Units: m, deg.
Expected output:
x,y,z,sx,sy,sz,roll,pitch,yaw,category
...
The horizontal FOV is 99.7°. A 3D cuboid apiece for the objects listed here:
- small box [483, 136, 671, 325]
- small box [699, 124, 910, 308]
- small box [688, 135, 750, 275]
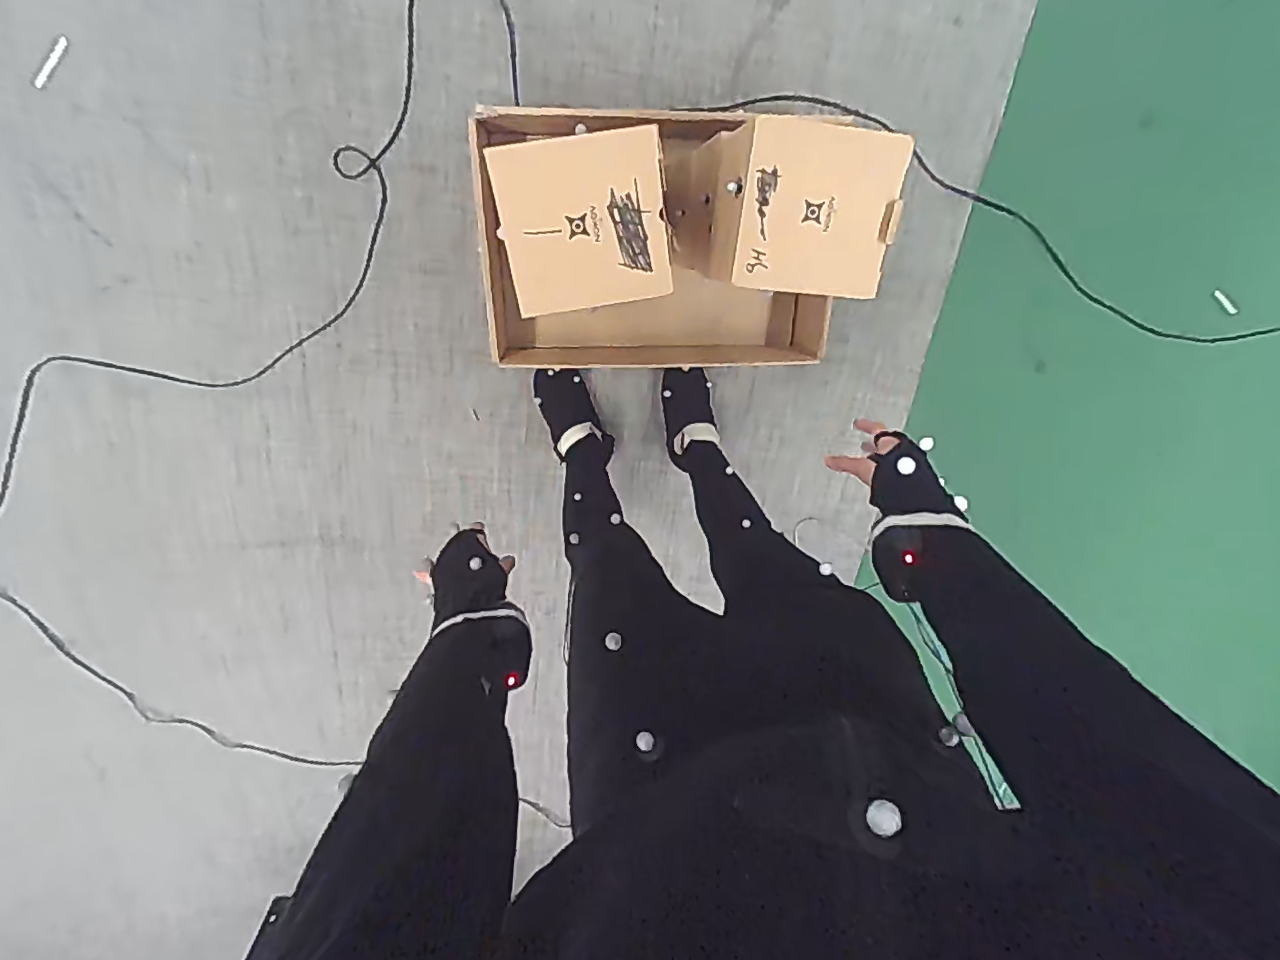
x,y,z,sx,sy,sz,roll,pitch,yaw,category
-0.070,-0.292,0.641,0.179,0.176,0.168,-10,115,-2,small box
0.182,-0.312,0.656,0.179,0.176,0.168,3,113,-7,small box
0.169,-0.391,0.802,0.168,0.176,0.179,0,114,-5,small box
